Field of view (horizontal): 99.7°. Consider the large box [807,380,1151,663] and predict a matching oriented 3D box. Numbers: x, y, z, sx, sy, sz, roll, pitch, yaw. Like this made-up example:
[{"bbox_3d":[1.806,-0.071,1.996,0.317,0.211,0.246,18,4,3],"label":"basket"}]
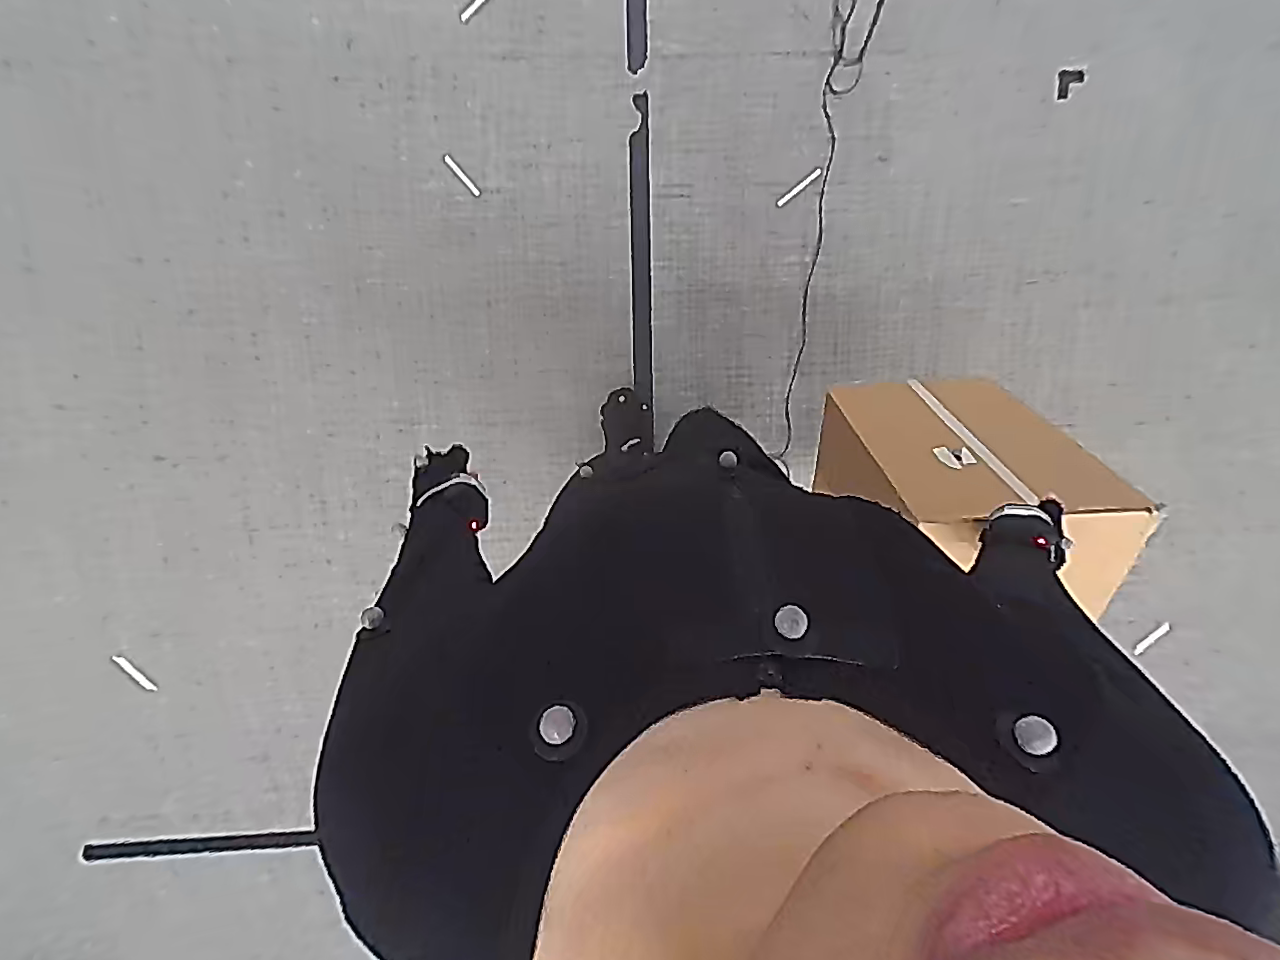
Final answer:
[{"bbox_3d":[0.519,0.056,0.955,0.320,0.408,0.320,-4,126,1],"label":"large box"}]
